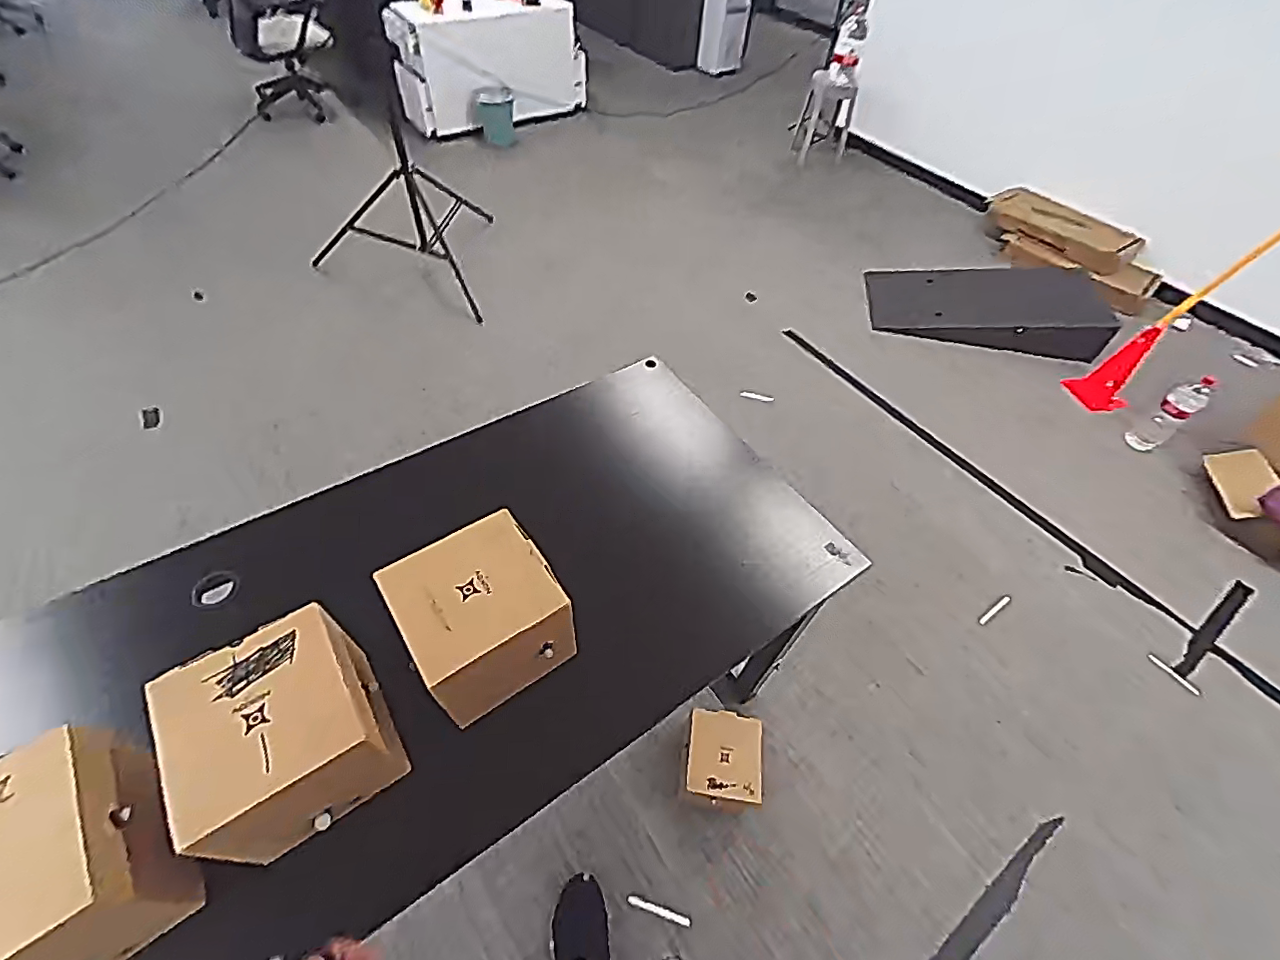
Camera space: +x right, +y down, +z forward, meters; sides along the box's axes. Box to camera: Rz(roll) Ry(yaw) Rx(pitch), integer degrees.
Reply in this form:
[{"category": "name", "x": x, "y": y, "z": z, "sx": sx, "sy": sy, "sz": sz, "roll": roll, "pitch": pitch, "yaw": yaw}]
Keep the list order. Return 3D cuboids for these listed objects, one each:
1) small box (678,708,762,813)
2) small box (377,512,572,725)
[{"category": "small box", "x": 0.185, "y": 0.662, "z": 1.272, "sx": 0.168, "sy": 0.176, "sz": 0.179, "roll": 9, "pitch": 52, "yaw": 2}, {"category": "small box", "x": -0.200, "y": 0.179, "z": 0.696, "sx": 0.179, "sy": 0.176, "sz": 0.168, "roll": -28, "pitch": 58, "yaw": -23}]
